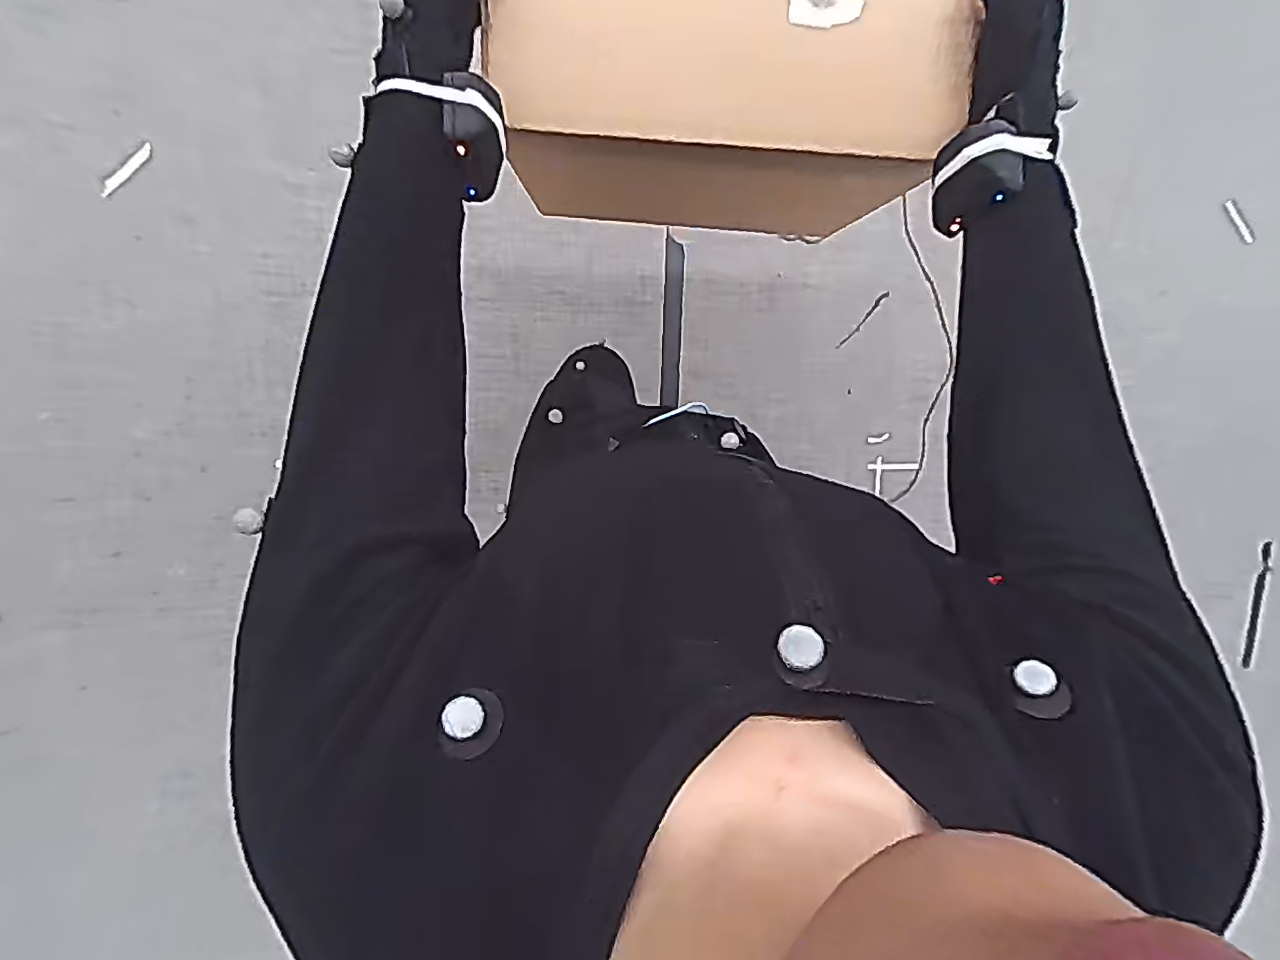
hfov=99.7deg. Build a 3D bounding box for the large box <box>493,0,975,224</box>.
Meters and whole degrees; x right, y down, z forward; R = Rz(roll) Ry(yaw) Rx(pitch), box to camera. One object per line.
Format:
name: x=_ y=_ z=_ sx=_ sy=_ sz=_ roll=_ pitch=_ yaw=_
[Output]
large box: x=0.074 y=-0.480 z=0.571 sx=0.408 sy=0.320 sz=0.320 roll=3 pitch=104 yaw=-3
